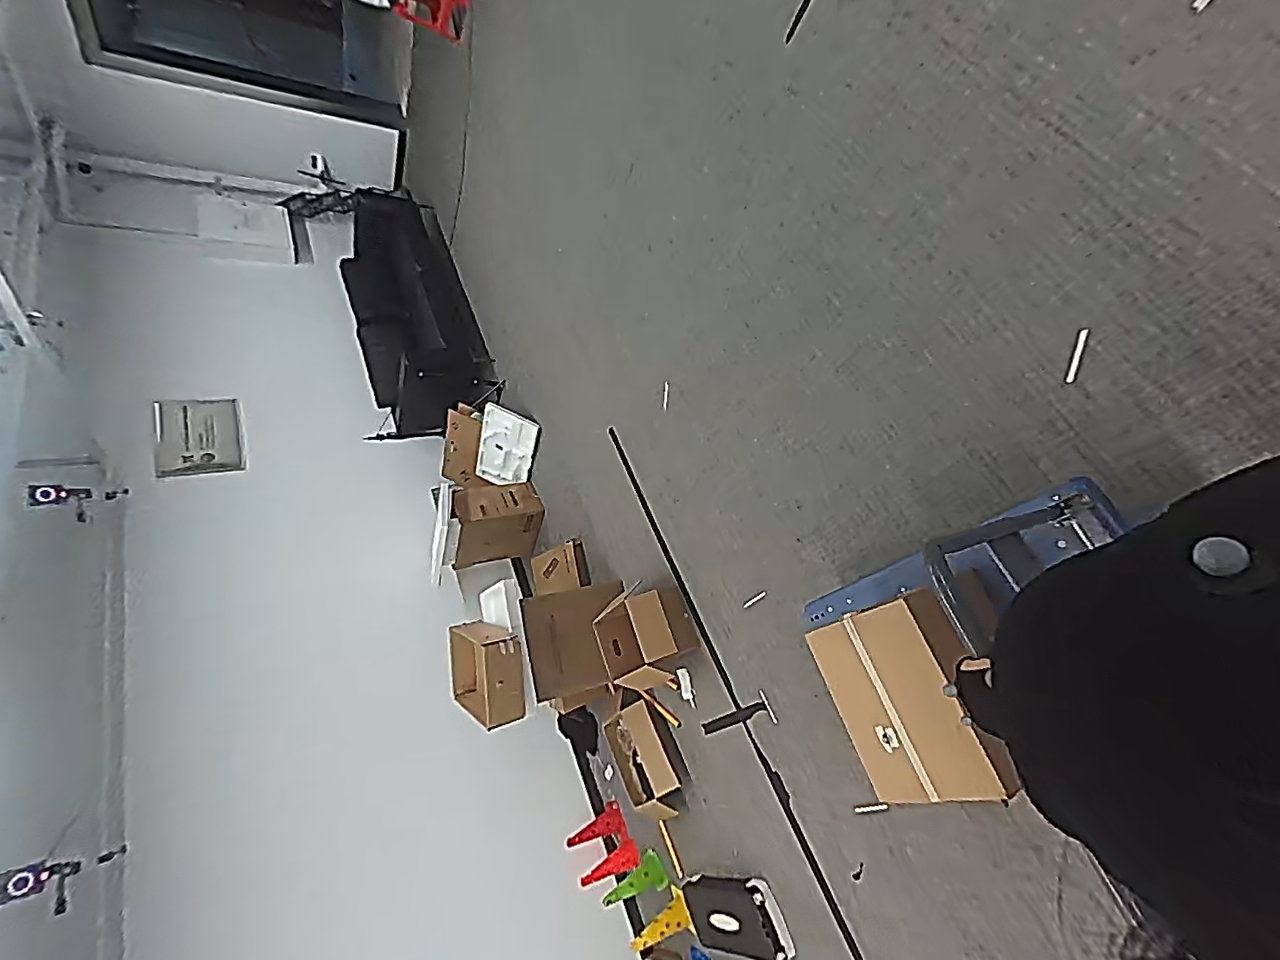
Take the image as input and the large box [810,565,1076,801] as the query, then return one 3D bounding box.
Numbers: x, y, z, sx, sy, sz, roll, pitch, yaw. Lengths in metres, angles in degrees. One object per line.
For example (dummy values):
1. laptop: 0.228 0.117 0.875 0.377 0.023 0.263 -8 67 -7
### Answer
1. large box: 0.684 0.461 1.257 0.320 0.320 0.408 -48 58 50
